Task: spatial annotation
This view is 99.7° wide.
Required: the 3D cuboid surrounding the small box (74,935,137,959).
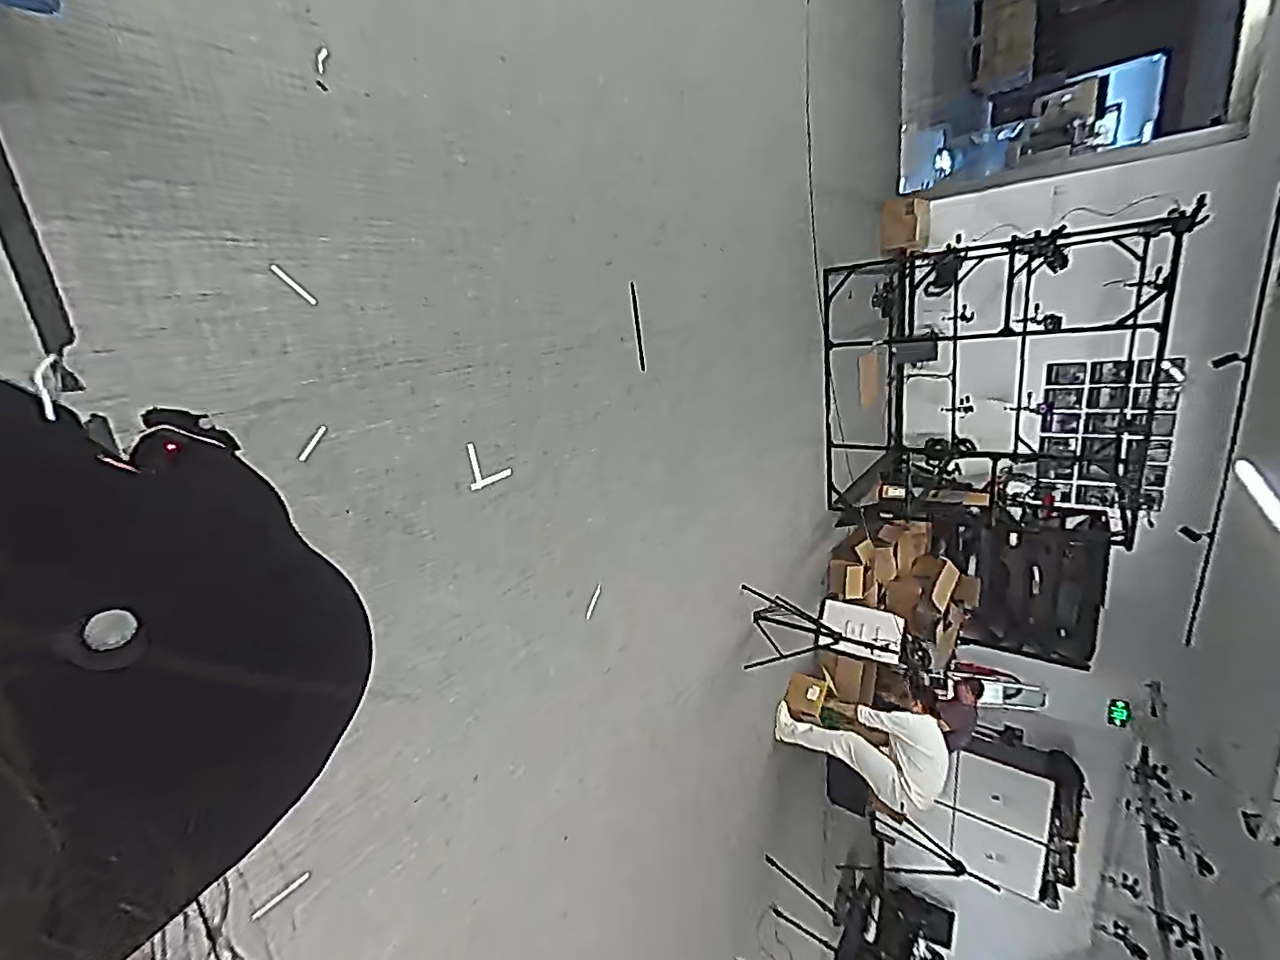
[{"bbox_3d":[-1.118,1.097,1.103,0.168,0.176,0.179,-27,115,-49],"label":"small box"}]
